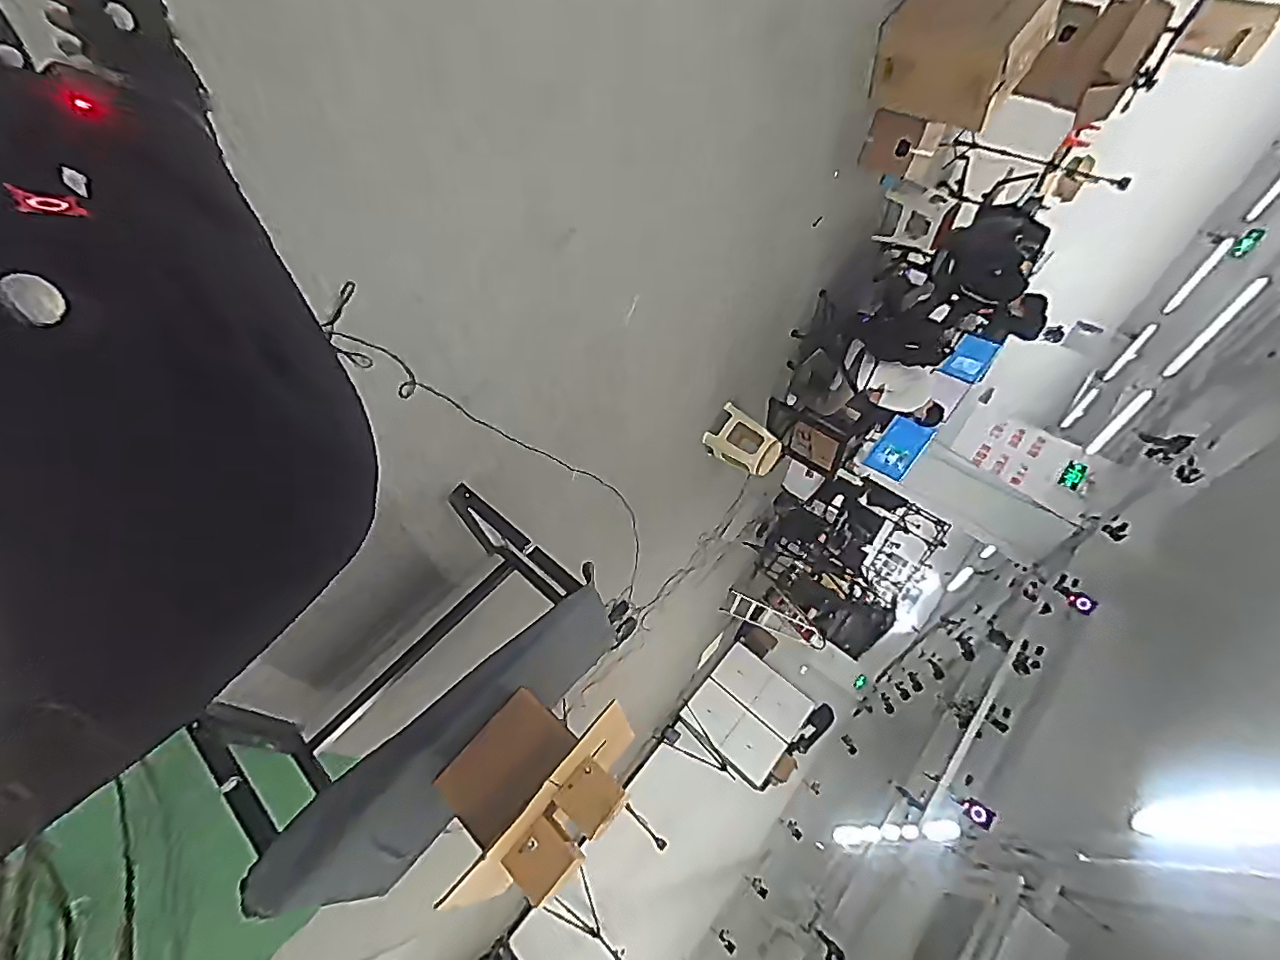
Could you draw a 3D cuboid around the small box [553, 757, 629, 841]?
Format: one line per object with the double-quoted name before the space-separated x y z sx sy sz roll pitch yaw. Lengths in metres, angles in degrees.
"small box" -0.158 1.022 1.738 0.168 0.176 0.179 -44 153 -22
